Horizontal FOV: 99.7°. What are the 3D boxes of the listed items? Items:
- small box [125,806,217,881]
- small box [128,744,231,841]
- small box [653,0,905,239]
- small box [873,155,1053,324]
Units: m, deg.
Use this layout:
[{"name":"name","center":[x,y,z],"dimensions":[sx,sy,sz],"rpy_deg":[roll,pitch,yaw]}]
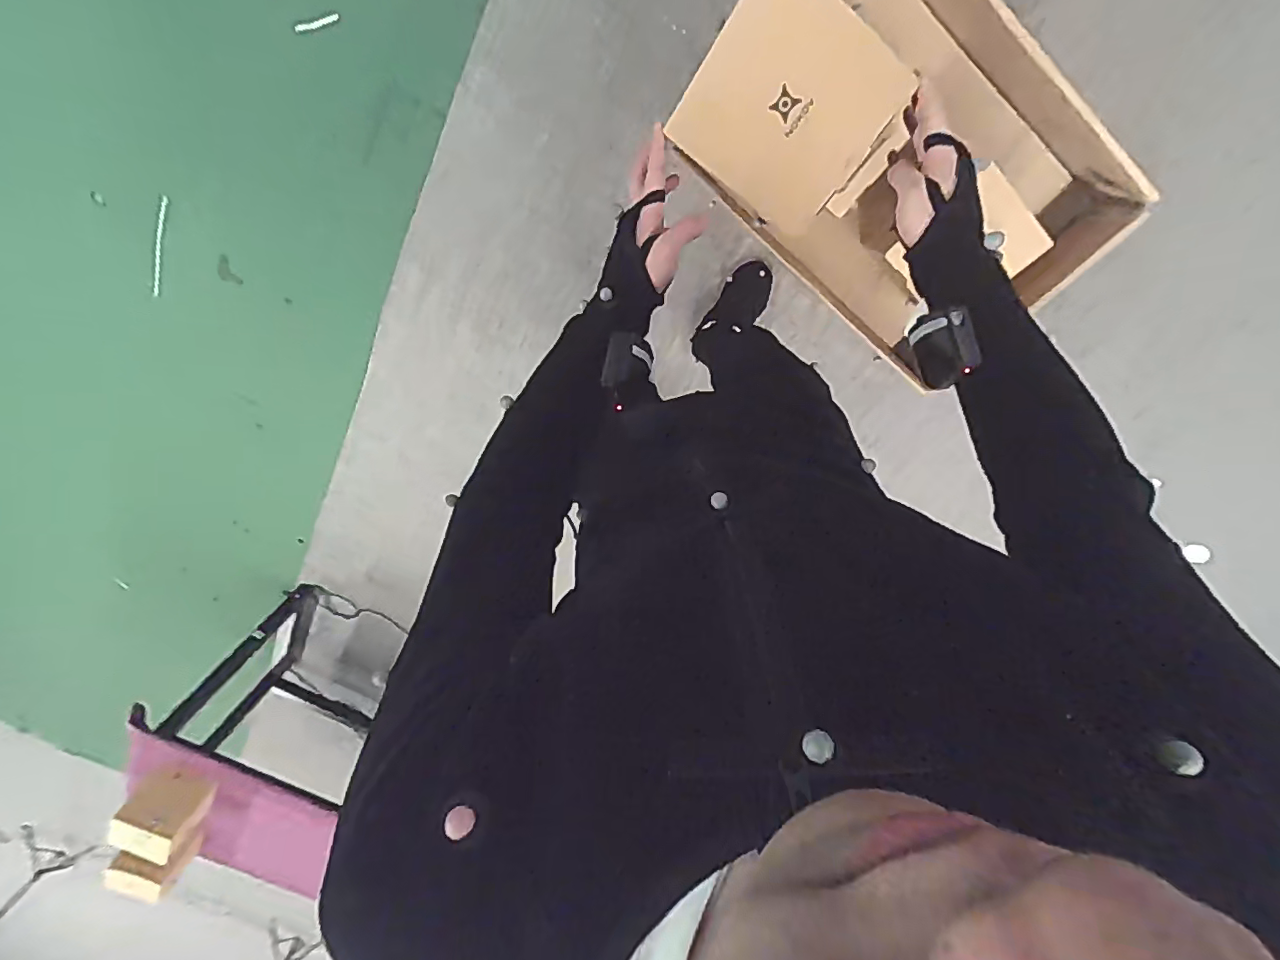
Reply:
[{"name":"small box","center":[-1.553,1.184,1.798],"dimensions":[0.168,0.176,0.179],"rpy_deg":[28,120,-10]},{"name":"small box","center":[-1.374,0.933,1.620],"dimensions":[0.168,0.176,0.179],"rpy_deg":[31,120,-10]},{"name":"small box","center":[0.129,-0.391,0.571],"dimensions":[0.179,0.176,0.168],"rpy_deg":[30,121,-17]},{"name":"small box","center":[0.504,-0.390,0.877],"dimensions":[0.168,0.176,0.179],"rpy_deg":[41,119,-15]}]
